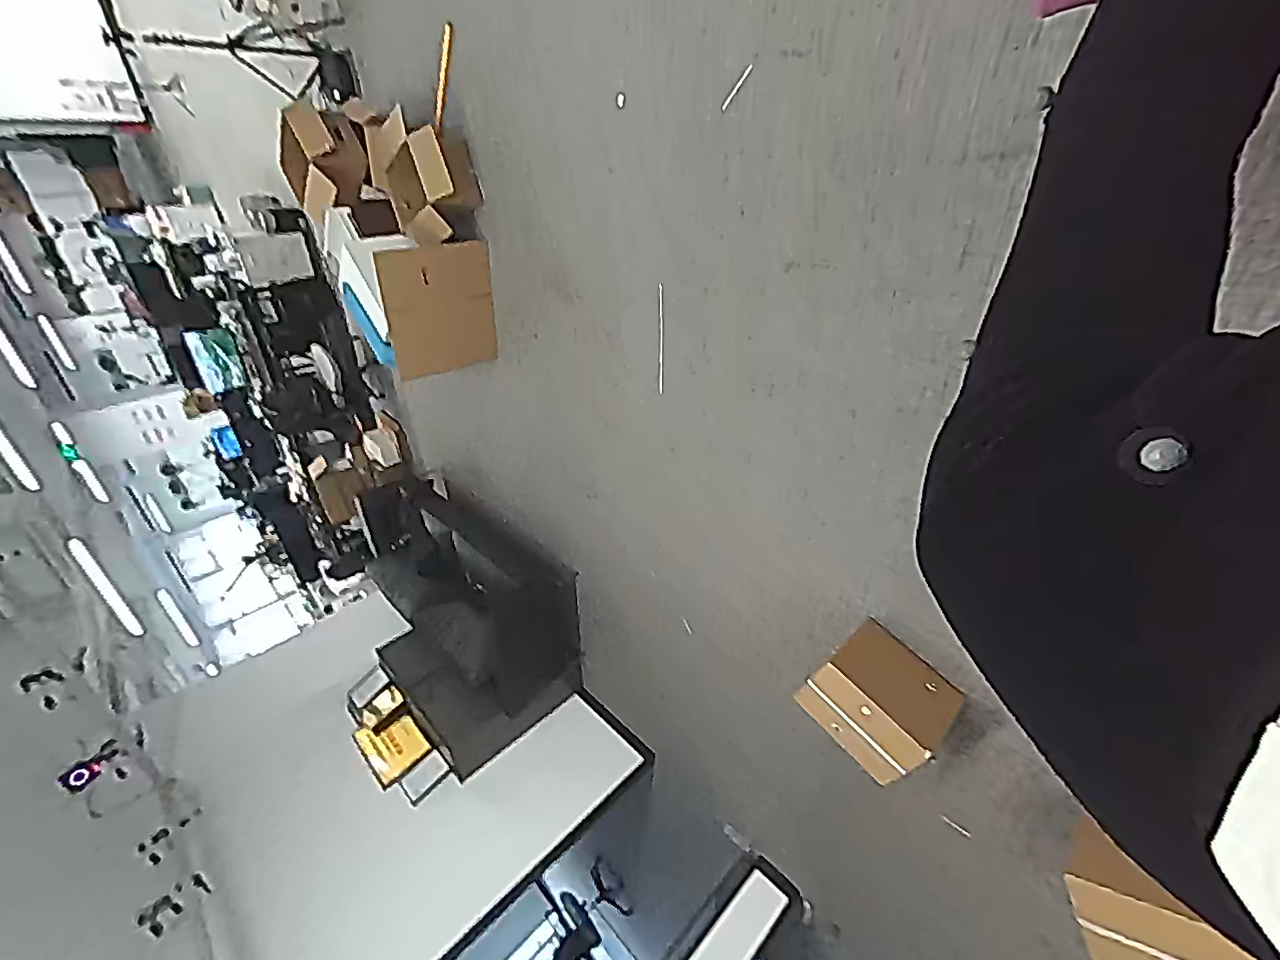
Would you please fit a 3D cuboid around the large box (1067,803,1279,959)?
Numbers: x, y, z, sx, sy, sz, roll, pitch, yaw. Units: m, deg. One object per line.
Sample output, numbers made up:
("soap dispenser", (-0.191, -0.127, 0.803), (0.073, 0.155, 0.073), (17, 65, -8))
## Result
("large box", (1.480, 1.171, 1.474), (0.408, 0.320, 0.320), (-14, 101, 52))
